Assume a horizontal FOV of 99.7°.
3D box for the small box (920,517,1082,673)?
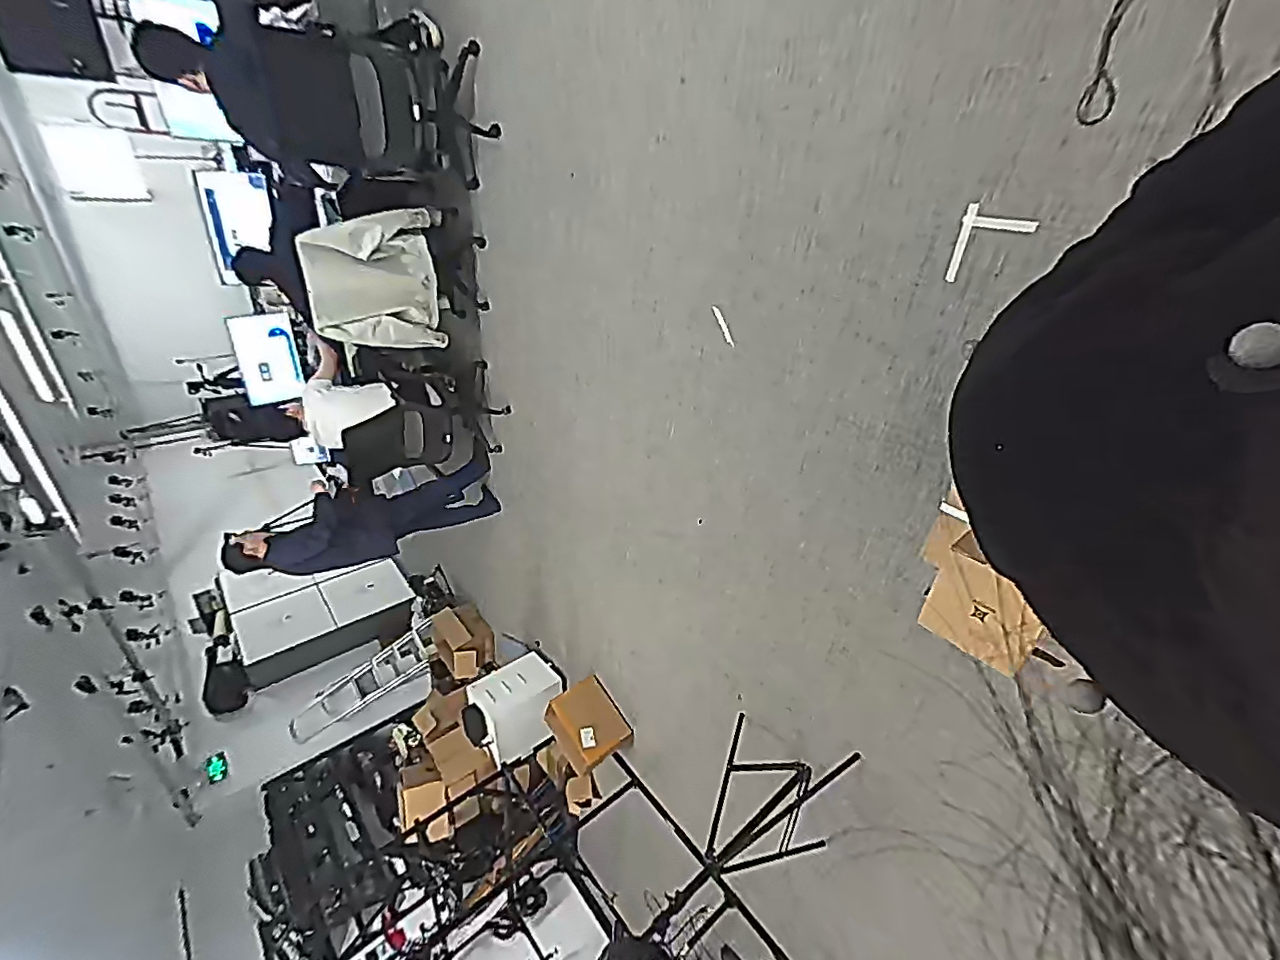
[{"bbox_3d":[0.630,0.189,0.944,0.168,0.176,0.179,33,131,41],"label":"small box"}]
